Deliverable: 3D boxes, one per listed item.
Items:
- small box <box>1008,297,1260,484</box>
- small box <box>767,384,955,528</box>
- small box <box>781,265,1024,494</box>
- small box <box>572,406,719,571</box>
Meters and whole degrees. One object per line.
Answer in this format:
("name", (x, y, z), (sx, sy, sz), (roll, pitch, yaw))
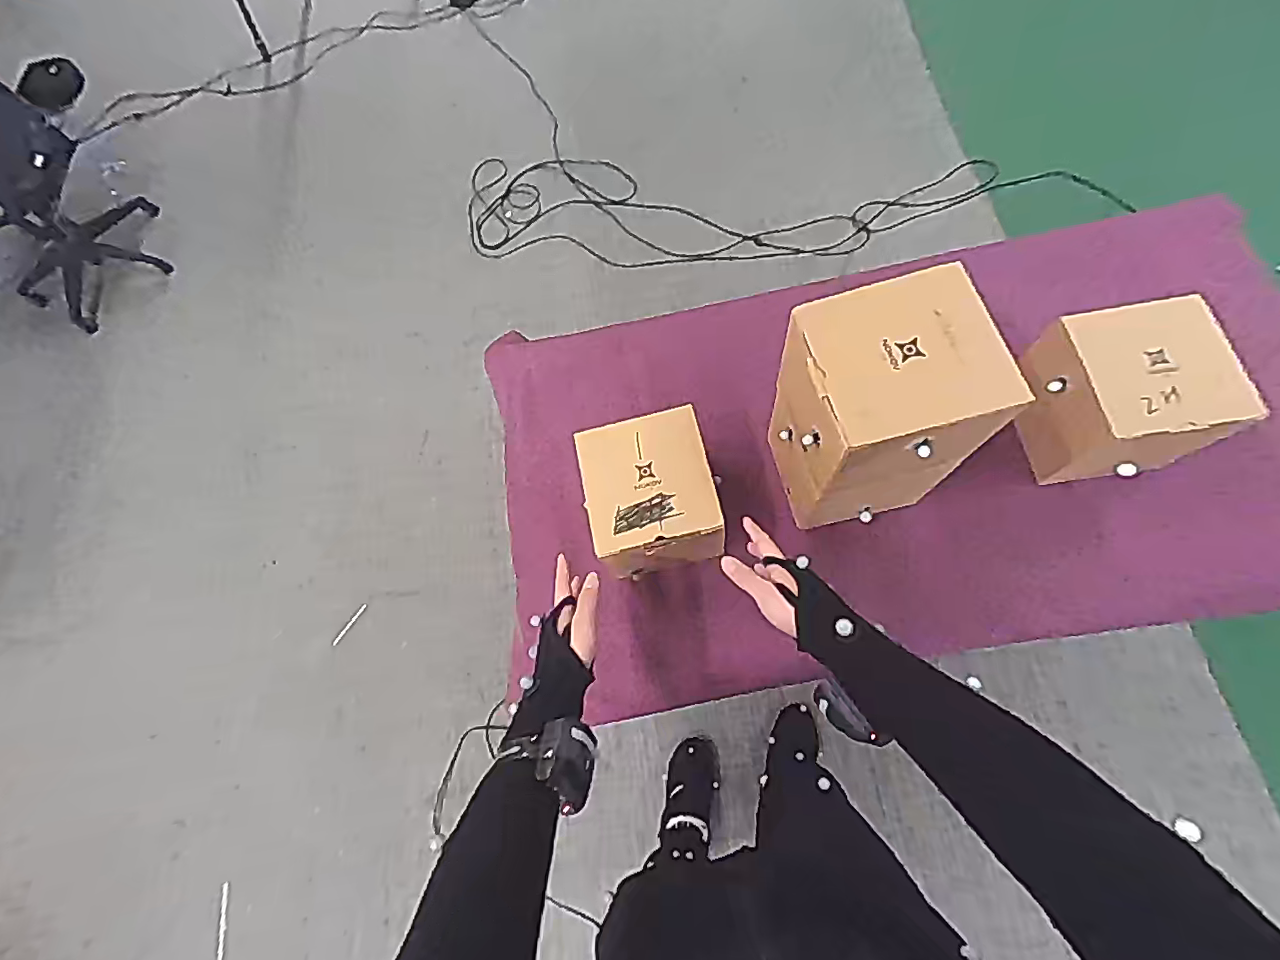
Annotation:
("small box", (0.627, -0.111, 0.724), (0.168, 0.176, 0.179), (-8, 70, 6))
("small box", (0.288, -0.045, 0.751), (0.179, 0.176, 0.168), (-14, 69, 3))
("small box", (0.263, -0.097, 0.598), (0.179, 0.176, 0.168), (-14, 70, 4))
("small box", (0.014, 0.024, 0.766), (0.168, 0.176, 0.179), (-13, 69, 3))
